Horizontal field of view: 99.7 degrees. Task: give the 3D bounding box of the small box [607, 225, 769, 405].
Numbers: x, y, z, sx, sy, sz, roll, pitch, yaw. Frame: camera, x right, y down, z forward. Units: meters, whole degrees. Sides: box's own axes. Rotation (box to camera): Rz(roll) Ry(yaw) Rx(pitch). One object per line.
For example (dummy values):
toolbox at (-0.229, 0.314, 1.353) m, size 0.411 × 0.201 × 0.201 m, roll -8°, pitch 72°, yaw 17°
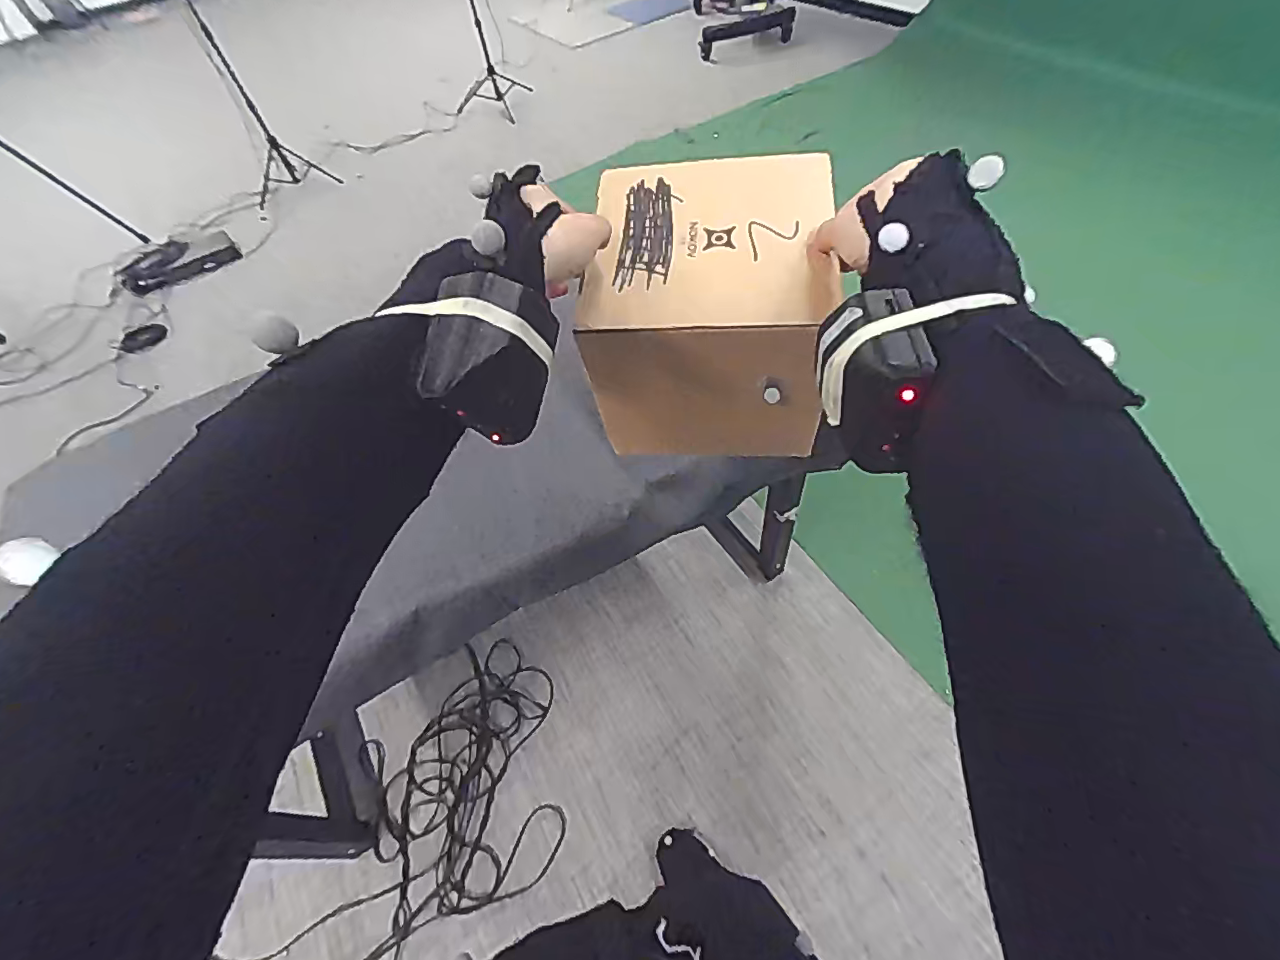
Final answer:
small box at (0.072, -0.242, 0.812) m, size 0.179 × 0.176 × 0.168 m, roll -25°, pitch 56°, yaw -11°
